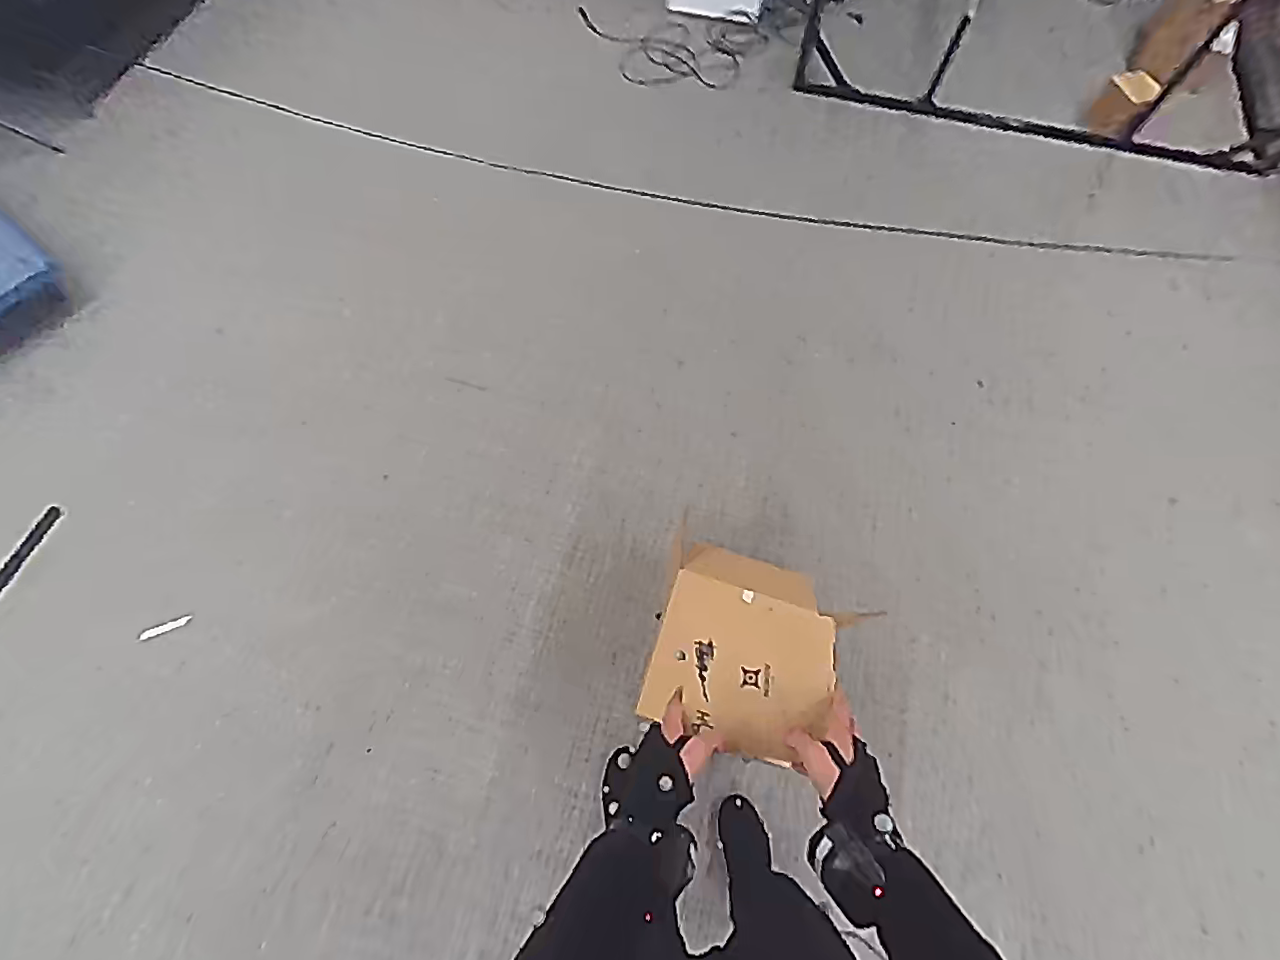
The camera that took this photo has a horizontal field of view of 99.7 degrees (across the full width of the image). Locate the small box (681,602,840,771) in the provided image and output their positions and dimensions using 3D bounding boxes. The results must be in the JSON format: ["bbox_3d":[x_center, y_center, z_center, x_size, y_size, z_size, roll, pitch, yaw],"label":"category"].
[{"bbox_3d":[0.150,0.261,0.700,0.179,0.176,0.168,5,70,9],"label":"small box"}]
